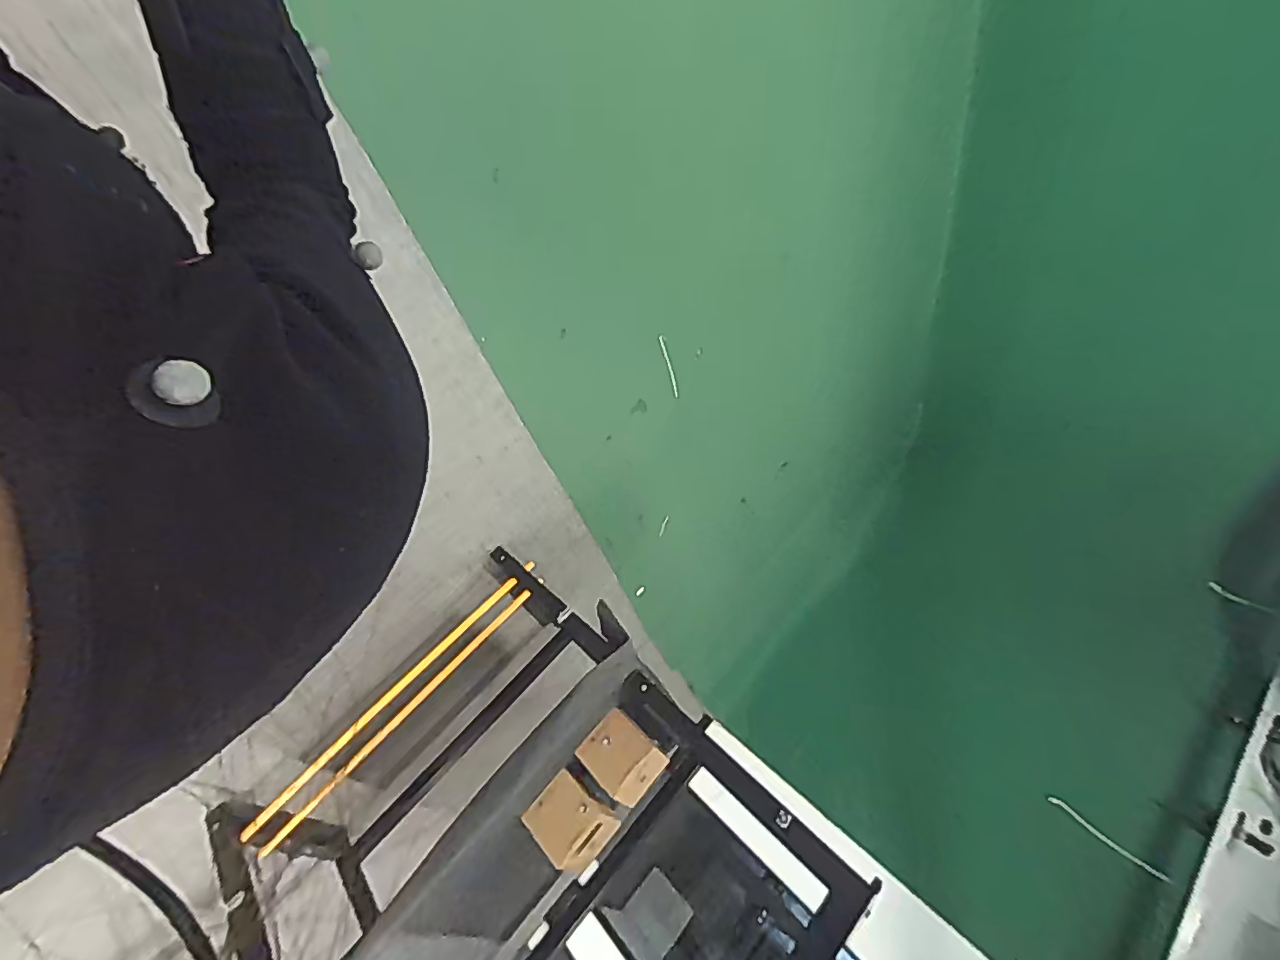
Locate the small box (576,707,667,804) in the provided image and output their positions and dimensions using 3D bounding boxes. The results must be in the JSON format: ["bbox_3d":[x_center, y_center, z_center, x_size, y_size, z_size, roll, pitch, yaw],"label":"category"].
[{"bbox_3d":[-0.052,0.783,1.546,0.168,0.176,0.179,-46,140,-17],"label":"small box"}]
